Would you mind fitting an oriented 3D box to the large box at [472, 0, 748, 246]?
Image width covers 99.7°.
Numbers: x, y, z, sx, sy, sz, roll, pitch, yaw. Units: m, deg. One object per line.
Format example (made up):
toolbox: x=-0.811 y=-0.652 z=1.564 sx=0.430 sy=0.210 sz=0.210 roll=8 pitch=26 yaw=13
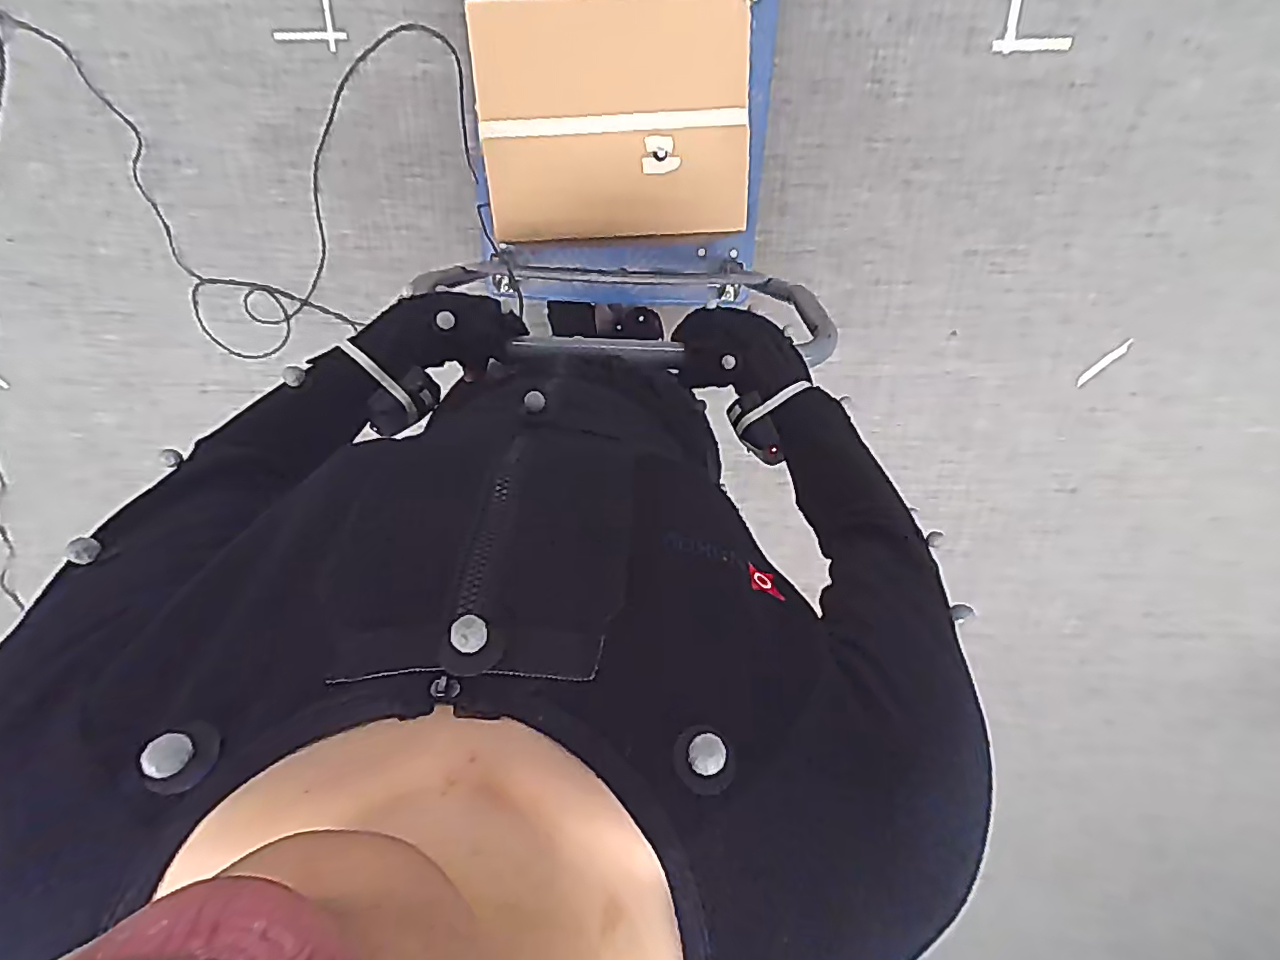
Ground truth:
large box: x=-0.042 y=-0.605 z=0.963 sx=0.408 sy=0.320 sz=0.320 roll=-4 pitch=112 yaw=-1
